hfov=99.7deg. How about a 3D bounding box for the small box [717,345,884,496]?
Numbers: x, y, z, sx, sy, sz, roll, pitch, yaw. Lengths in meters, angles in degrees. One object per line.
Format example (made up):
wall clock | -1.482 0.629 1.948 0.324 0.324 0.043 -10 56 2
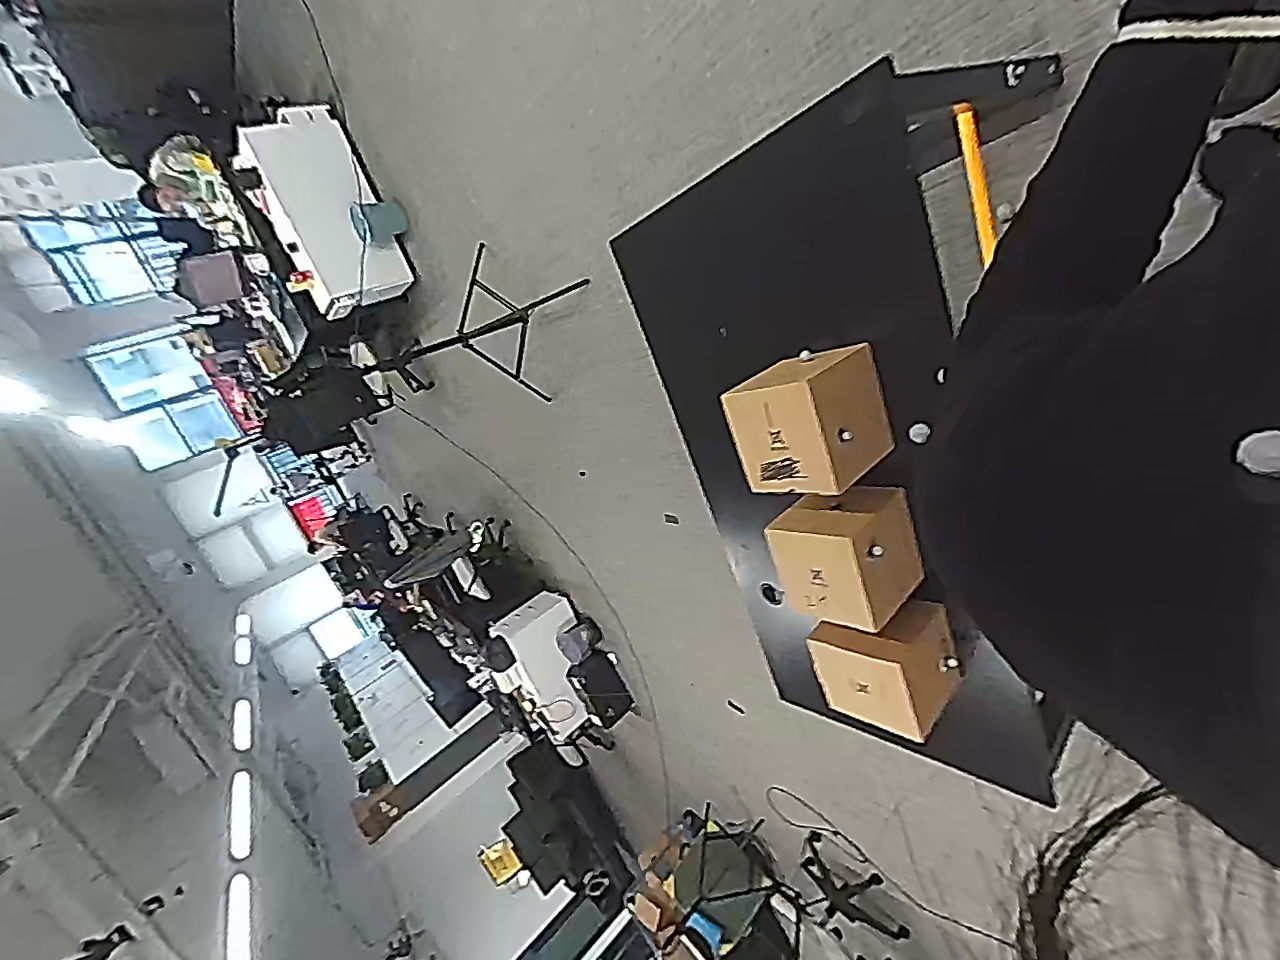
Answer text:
small box | 0.257 -0.092 0.852 0.168 0.176 0.179 1 117 54

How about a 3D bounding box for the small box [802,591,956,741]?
small box | 0.430 0.319 0.971 0.179 0.176 0.168 -1 117 53
